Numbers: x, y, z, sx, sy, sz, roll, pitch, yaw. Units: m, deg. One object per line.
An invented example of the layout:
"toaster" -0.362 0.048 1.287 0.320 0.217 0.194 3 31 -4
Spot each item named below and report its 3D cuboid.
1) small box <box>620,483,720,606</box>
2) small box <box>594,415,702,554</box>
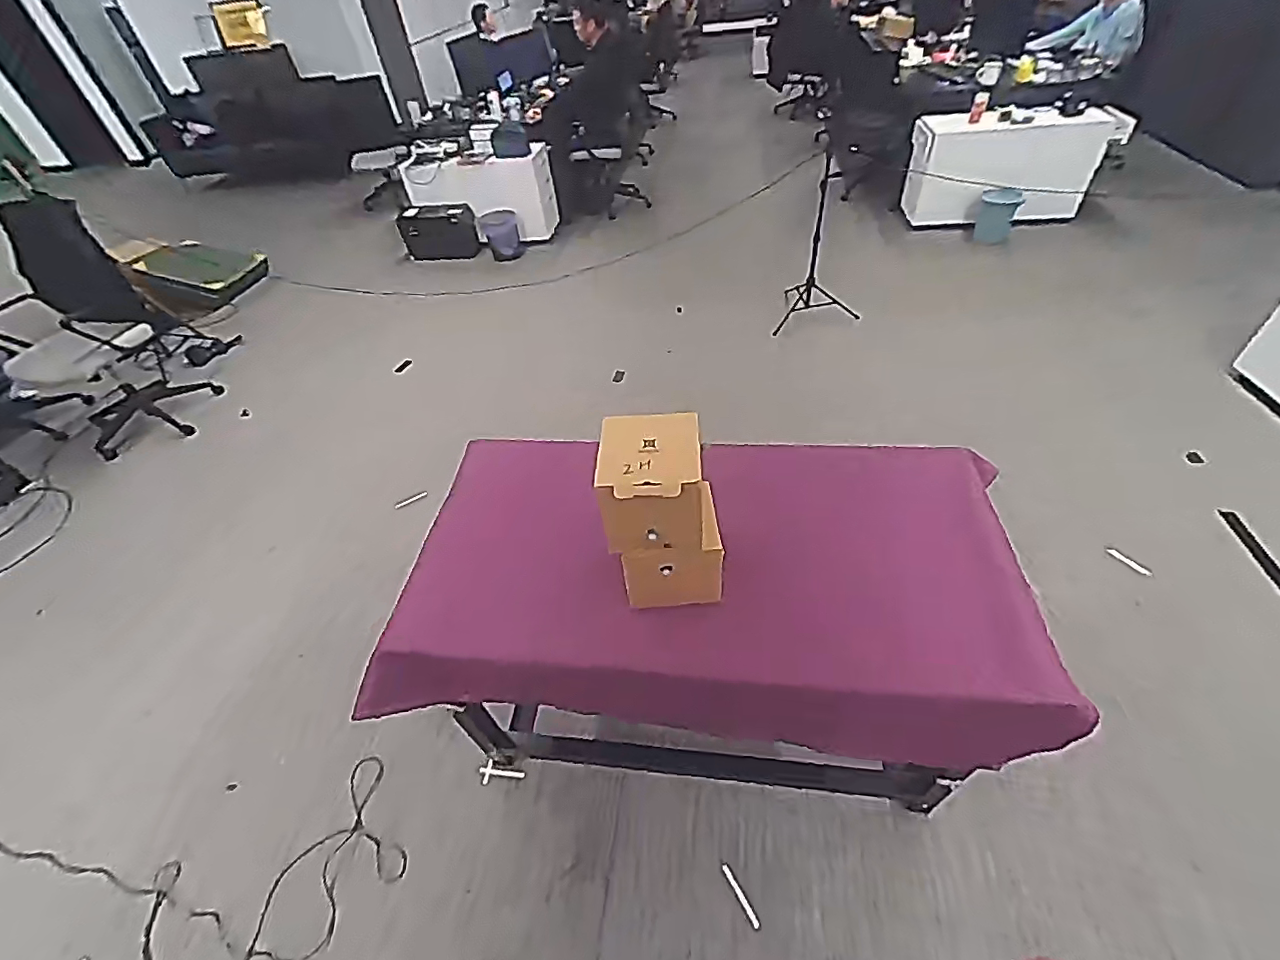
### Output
"small box" 0.056 0.129 1.040 0.179 0.176 0.168 -5 45 1
"small box" 0.021 0.008 0.931 0.168 0.176 0.179 -3 45 6
